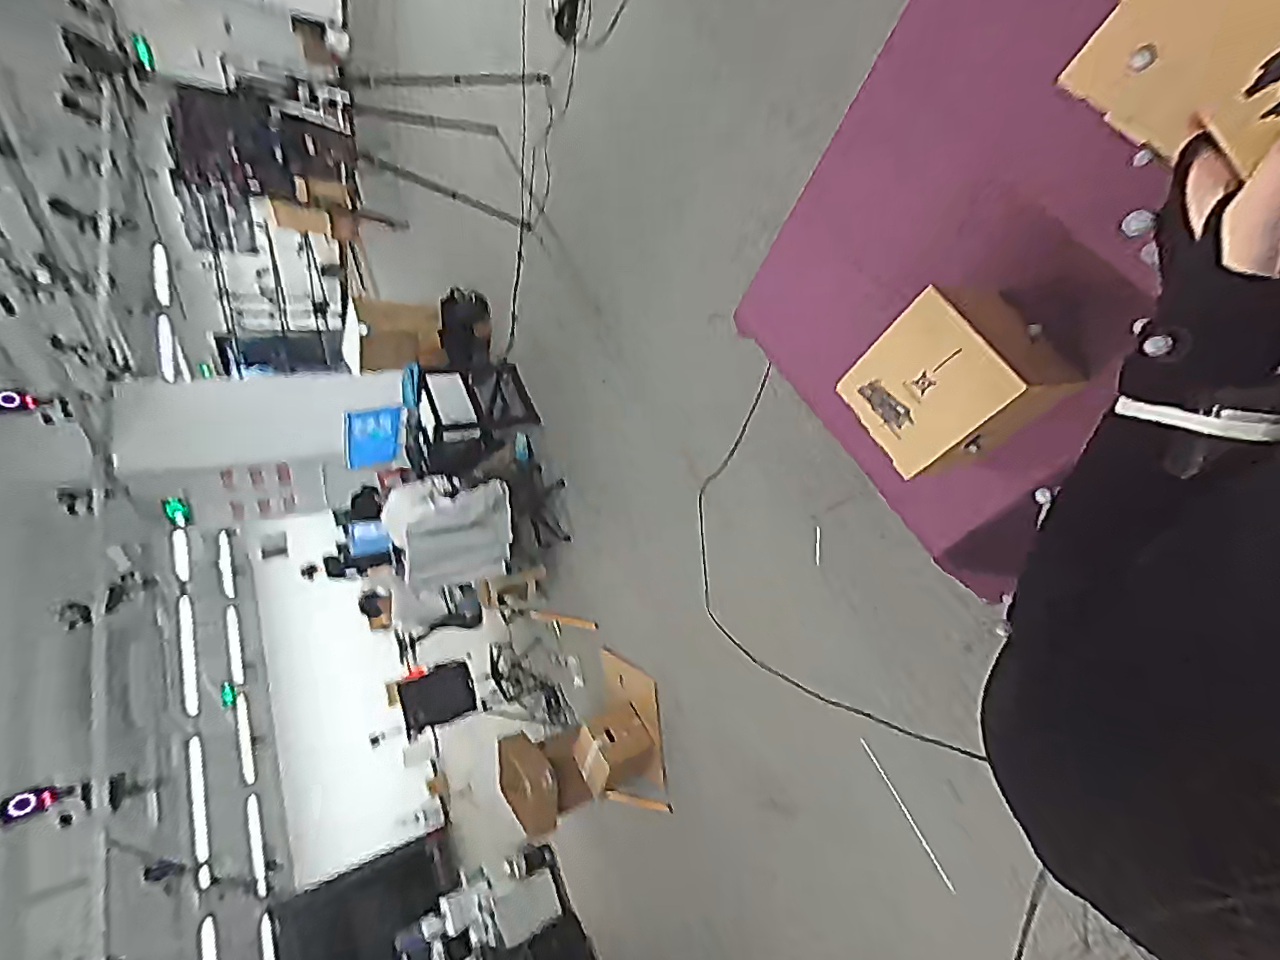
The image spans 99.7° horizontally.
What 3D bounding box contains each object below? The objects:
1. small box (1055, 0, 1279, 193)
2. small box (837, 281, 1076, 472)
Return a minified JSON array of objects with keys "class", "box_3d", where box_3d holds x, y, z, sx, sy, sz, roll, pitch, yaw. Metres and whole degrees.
[{"class":"small box","box_3d":[0.525,-0.376,0.461,0.168,0.176,0.179,63,145,24]},{"class":"small box","box_3d":[0.407,-0.131,0.707,0.168,0.176,0.179,63,142,25]}]
